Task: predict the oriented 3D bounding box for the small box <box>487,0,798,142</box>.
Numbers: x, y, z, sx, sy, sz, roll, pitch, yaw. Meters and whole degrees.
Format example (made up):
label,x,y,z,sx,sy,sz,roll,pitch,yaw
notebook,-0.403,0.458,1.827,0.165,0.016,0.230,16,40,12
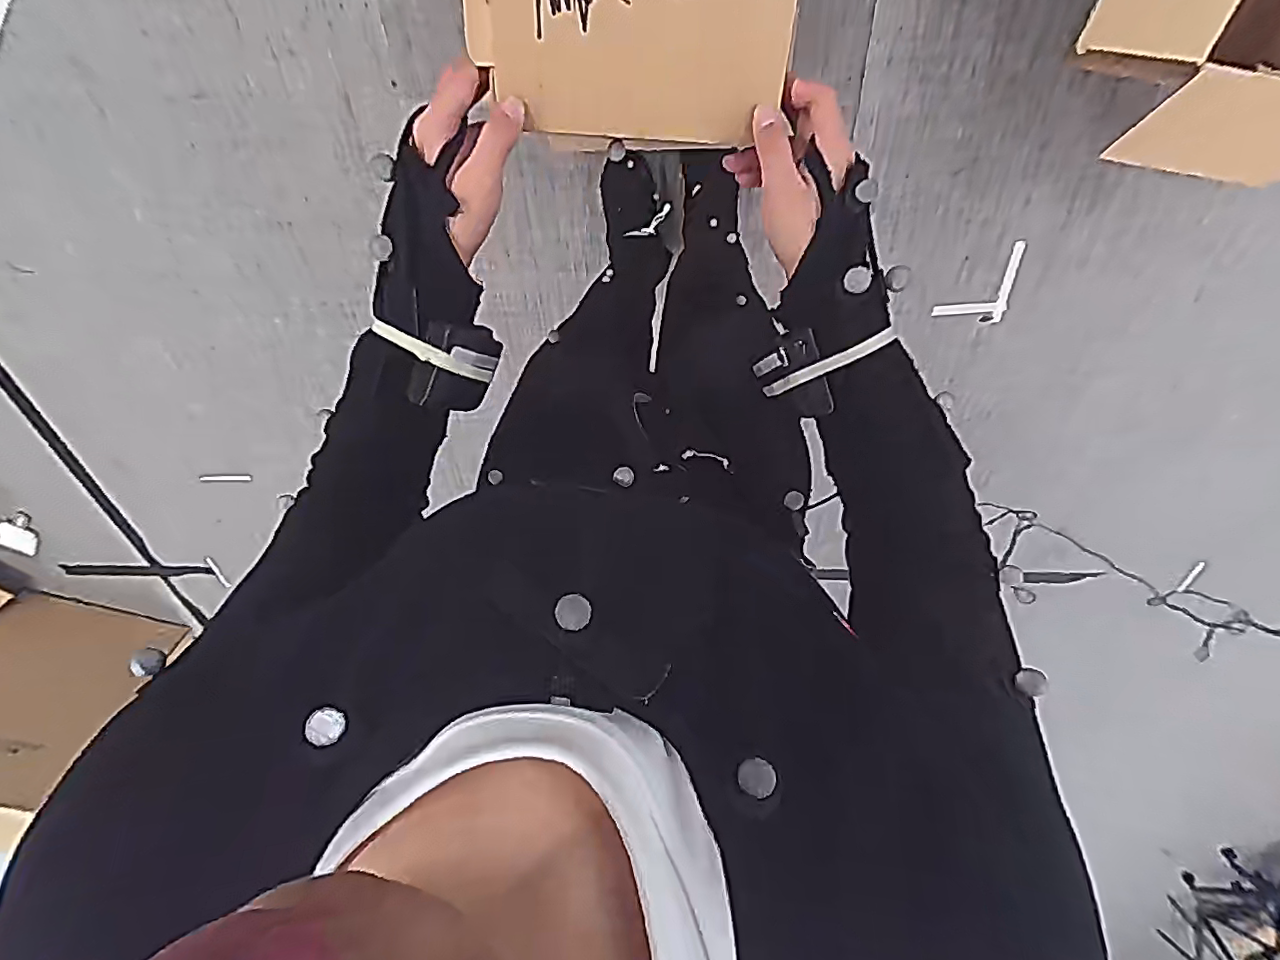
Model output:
label,x,y,z,sx,sy,sz,roll,pitch,yaw
small box,0.001,-0.327,0.359,0.179,0.176,0.168,1,122,-4
